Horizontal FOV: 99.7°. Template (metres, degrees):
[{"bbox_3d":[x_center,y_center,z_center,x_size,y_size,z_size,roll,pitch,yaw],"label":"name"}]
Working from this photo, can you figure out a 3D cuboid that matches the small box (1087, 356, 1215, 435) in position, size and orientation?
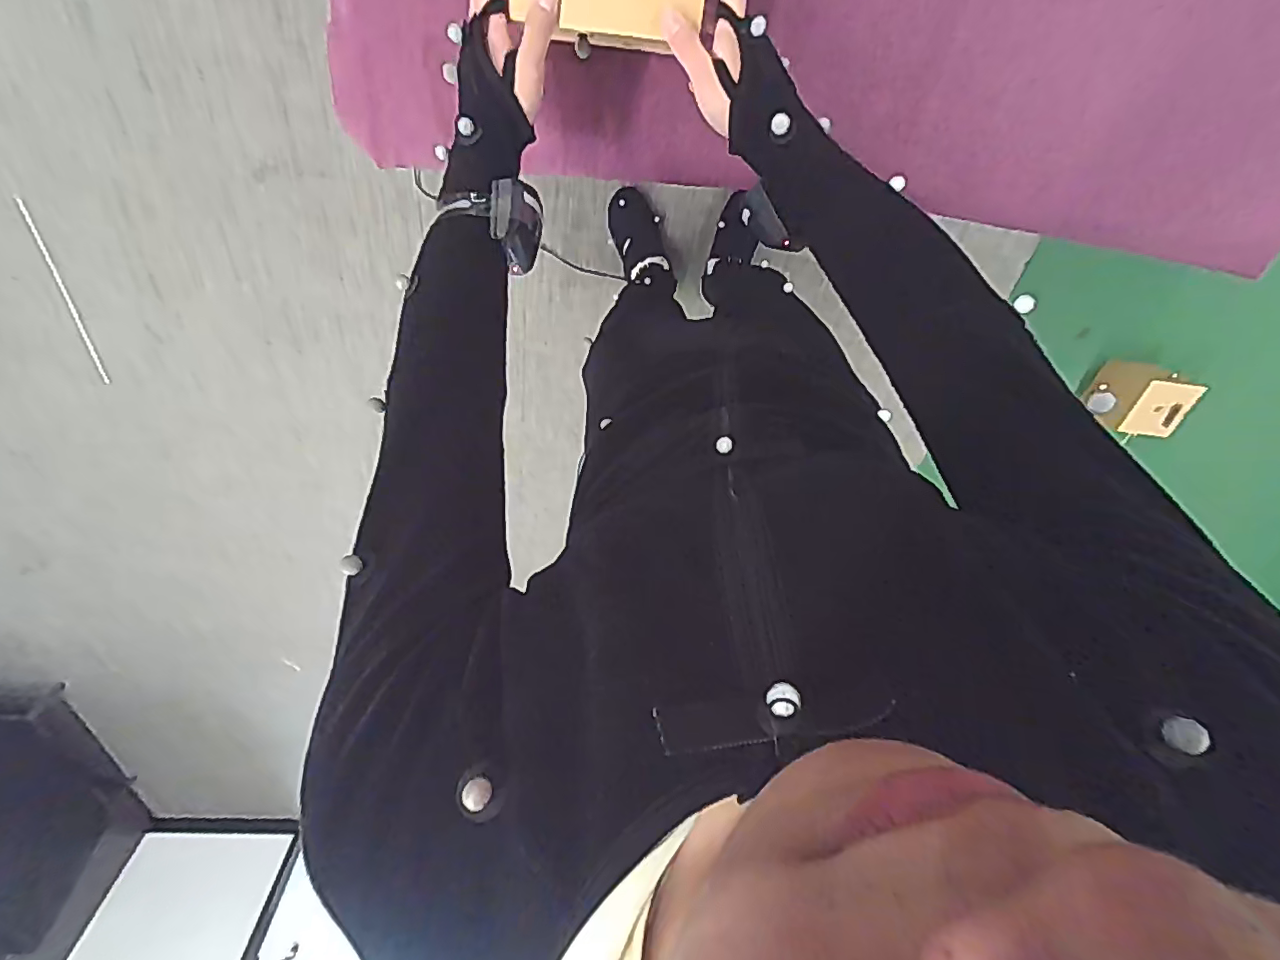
[{"bbox_3d":[1.497,-0.253,1.598,0.179,0.176,0.168,6,124,-5],"label":"small box"}]

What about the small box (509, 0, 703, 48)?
[{"bbox_3d":[-0.022,-0.503,0.478,0.168,0.176,0.179,3,126,-4],"label":"small box"}]
